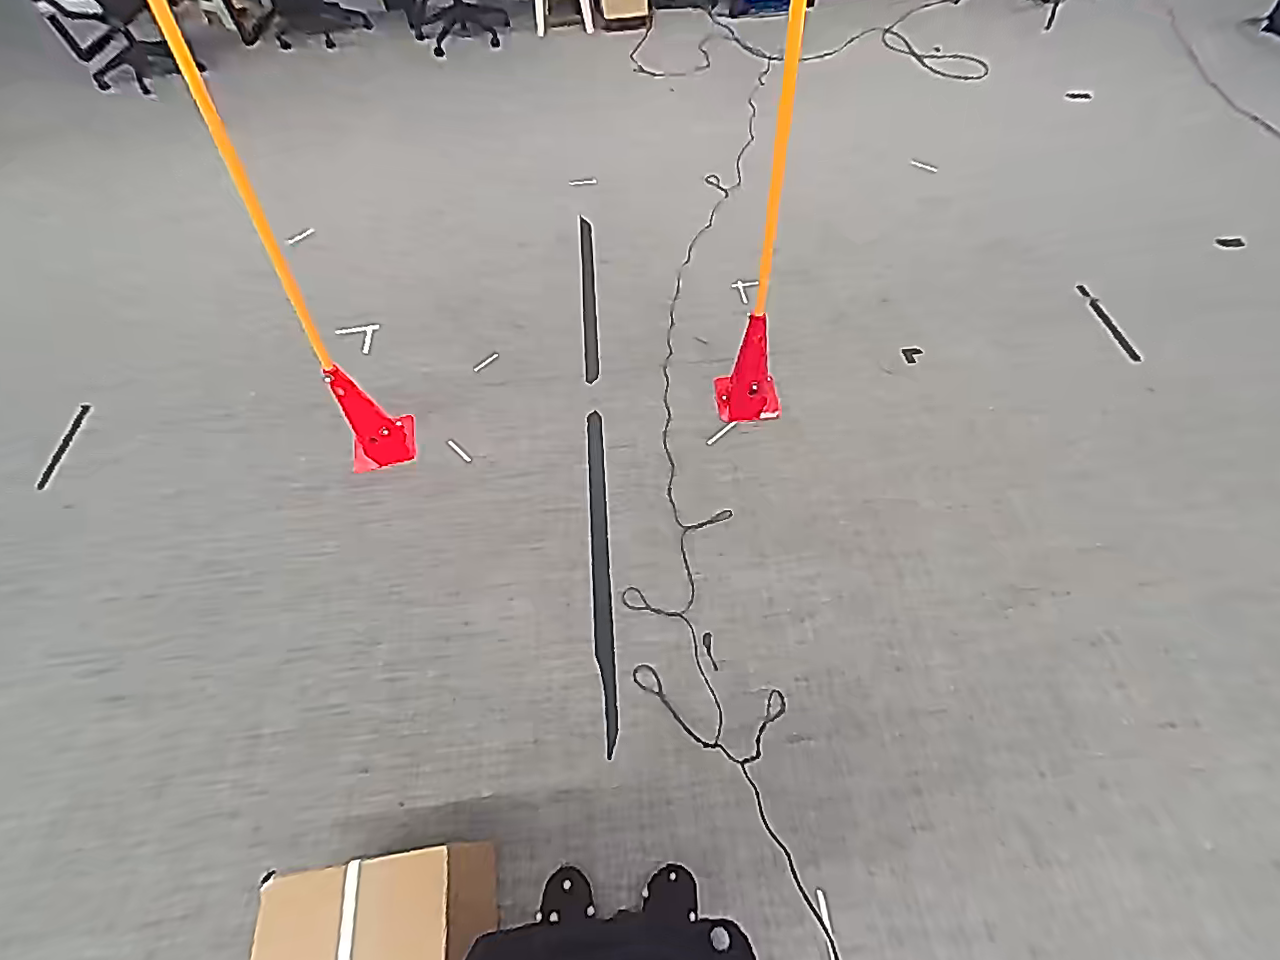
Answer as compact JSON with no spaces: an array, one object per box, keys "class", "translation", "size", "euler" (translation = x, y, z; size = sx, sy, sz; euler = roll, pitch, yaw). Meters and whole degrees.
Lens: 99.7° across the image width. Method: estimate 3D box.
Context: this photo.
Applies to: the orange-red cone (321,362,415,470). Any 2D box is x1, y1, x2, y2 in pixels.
[{"class":"orange-red cone","translation":[-0.854,-0.217,1.639],"size":[0.199,0.360,0.198],"euler":[-14,57,-4]}]
